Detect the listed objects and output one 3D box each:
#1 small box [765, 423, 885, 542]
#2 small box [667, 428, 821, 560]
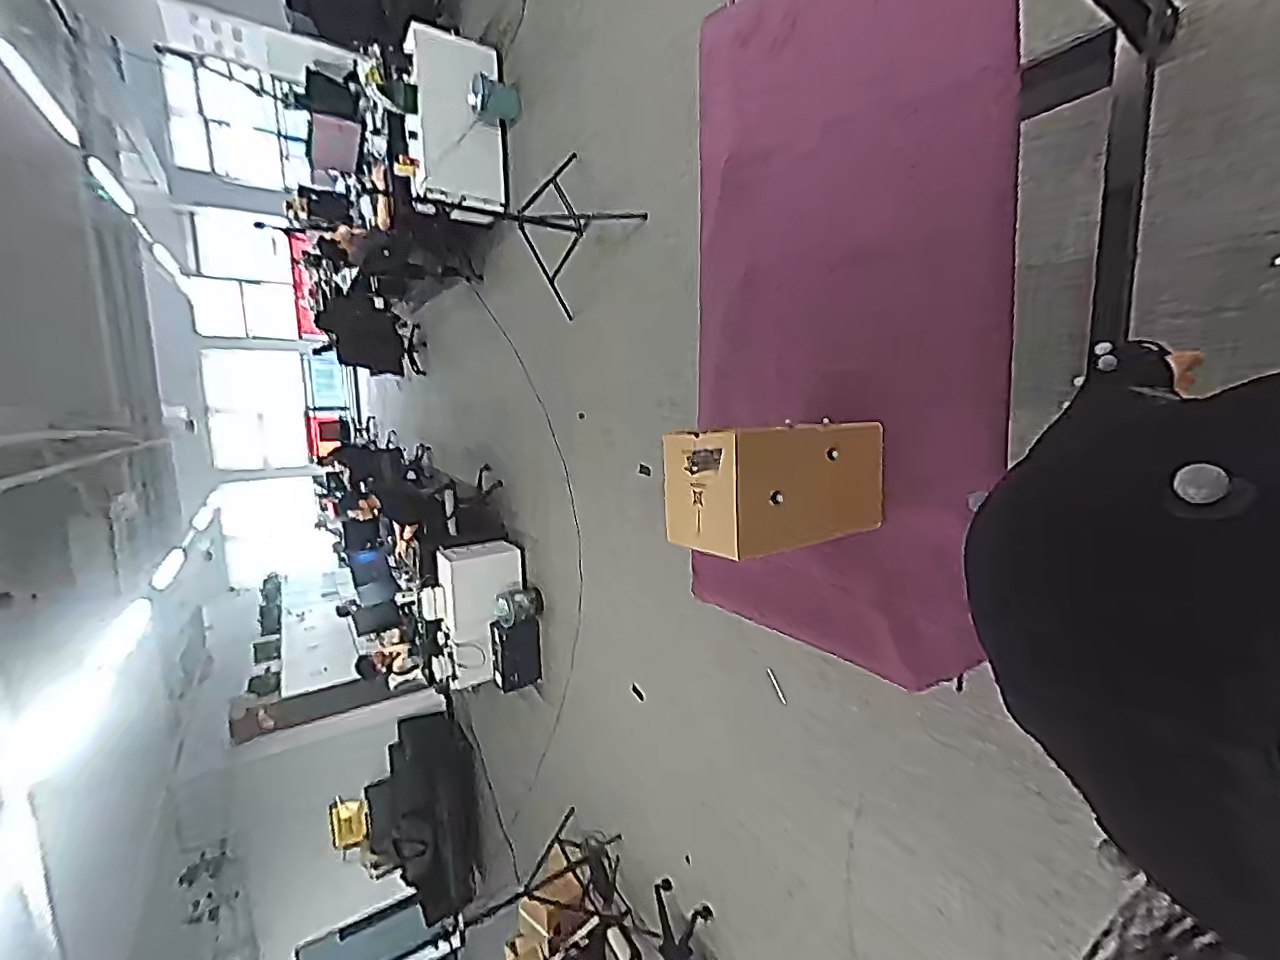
[{"bbox_3d":[0.293,-0.004,0.914,0.168,0.176,0.179,6,100,57],"label":"small box"},{"bbox_3d":[0.157,0.010,0.821,0.168,0.176,0.179,6,101,57],"label":"small box"}]
